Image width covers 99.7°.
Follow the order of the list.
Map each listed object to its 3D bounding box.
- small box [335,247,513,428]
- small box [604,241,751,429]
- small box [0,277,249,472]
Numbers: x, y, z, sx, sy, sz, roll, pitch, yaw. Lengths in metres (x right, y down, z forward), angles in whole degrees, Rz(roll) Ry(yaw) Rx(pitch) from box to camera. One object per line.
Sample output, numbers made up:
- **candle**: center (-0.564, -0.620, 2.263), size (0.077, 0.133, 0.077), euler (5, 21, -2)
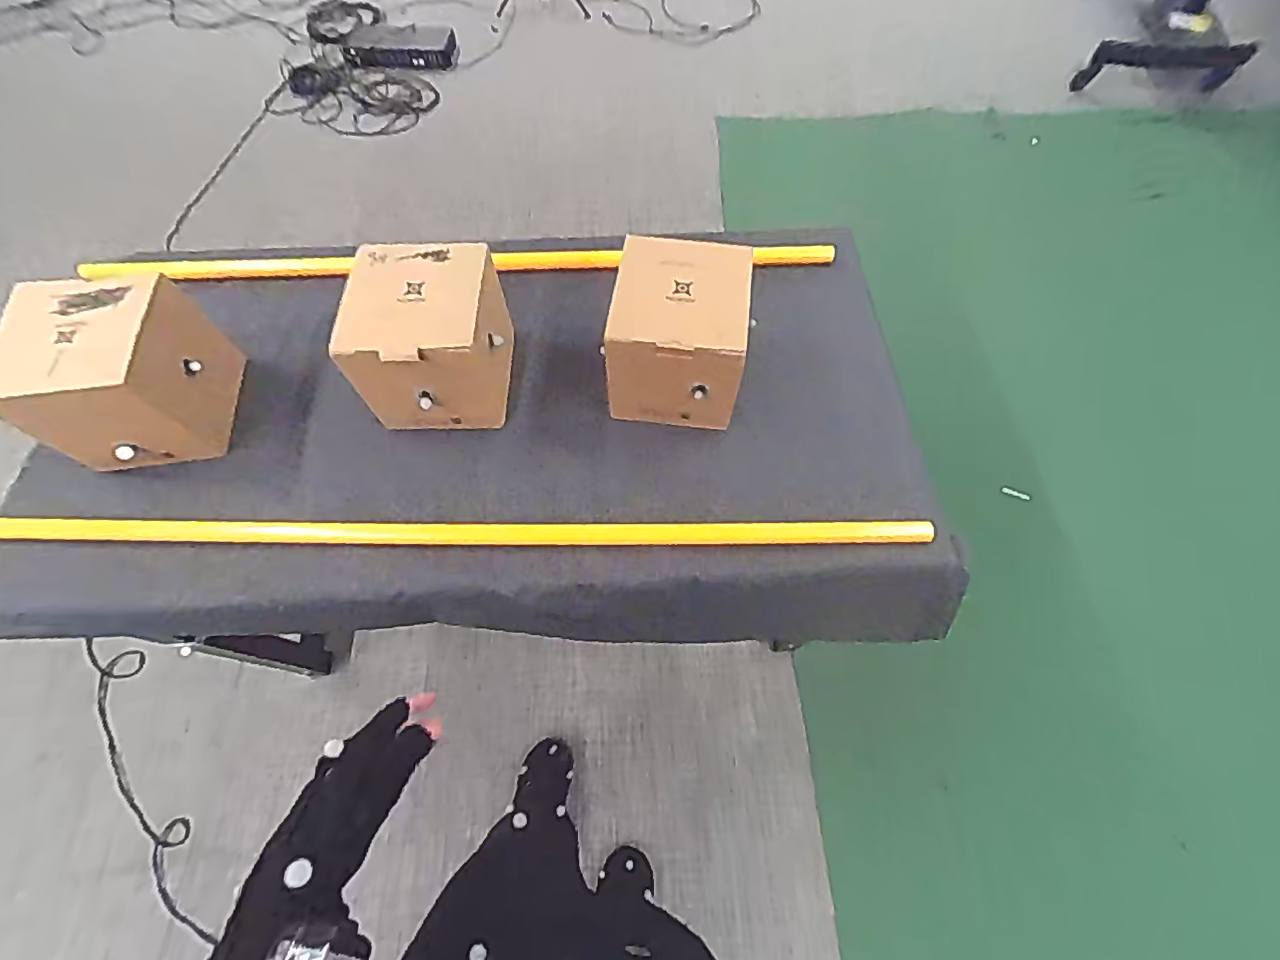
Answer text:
- **small box**: center (-0.273, -0.181, 0.728), size (0.168, 0.176, 0.179), euler (-4, 63, 0)
- **small box**: center (0.050, -0.187, 0.728), size (0.168, 0.176, 0.179), euler (7, 62, 3)
- **small box**: center (-0.651, -0.130, 0.700), size (0.168, 0.176, 0.179), euler (-8, 64, -4)
